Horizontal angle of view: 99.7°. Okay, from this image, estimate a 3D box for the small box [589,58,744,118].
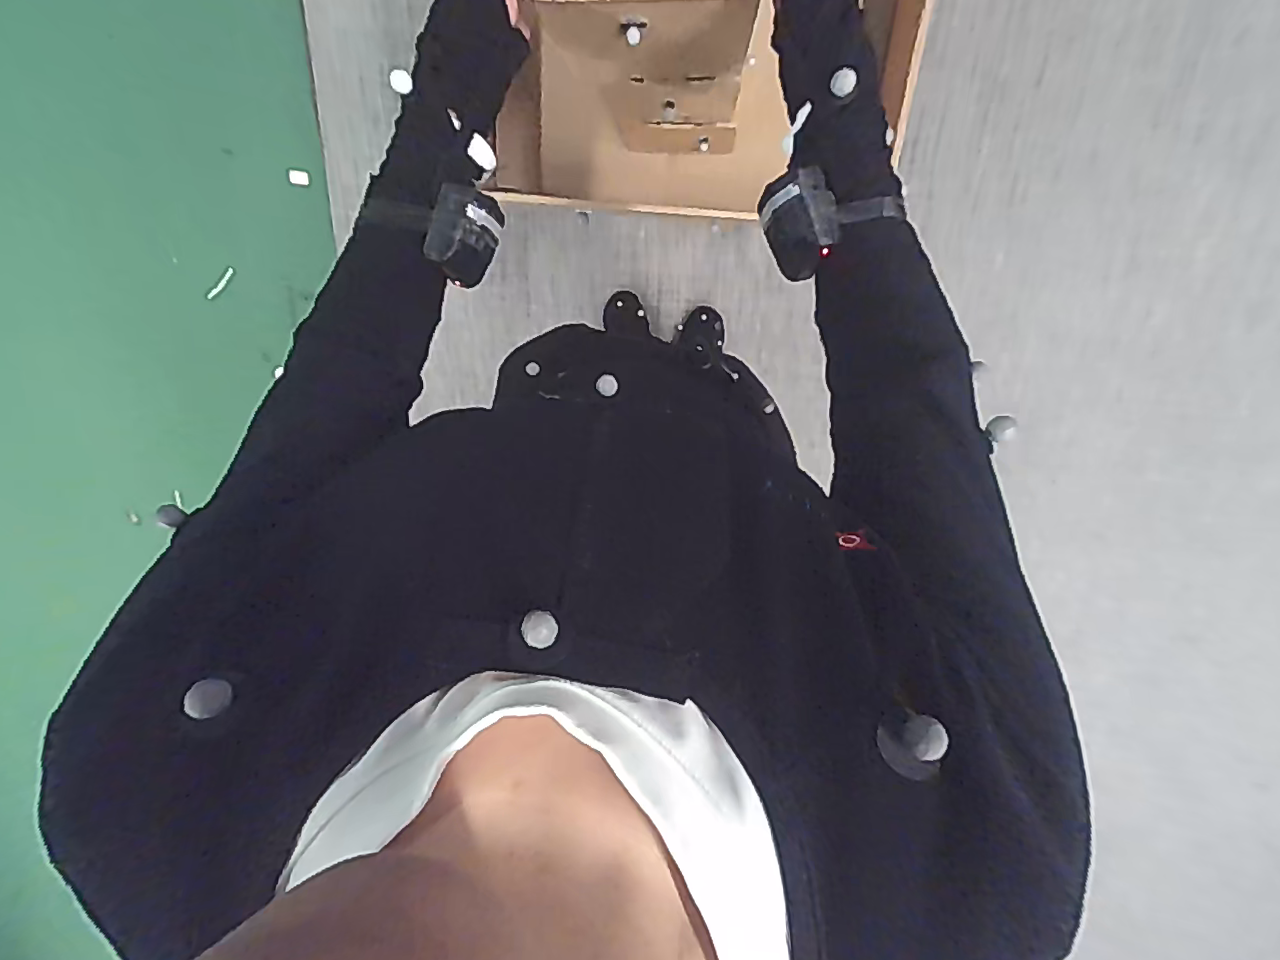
[{"bbox_3d":[0.039,-0.526,0.606,0.168,0.176,0.179,4,111,4],"label":"small box"}]

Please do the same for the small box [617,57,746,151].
[{"bbox_3d":[0.063,-0.579,0.759,0.168,0.176,0.179,4,109,4],"label":"small box"}]

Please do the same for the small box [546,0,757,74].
[{"bbox_3d":[0.015,-0.466,0.454,0.179,0.176,0.168,3,111,4],"label":"small box"}]
